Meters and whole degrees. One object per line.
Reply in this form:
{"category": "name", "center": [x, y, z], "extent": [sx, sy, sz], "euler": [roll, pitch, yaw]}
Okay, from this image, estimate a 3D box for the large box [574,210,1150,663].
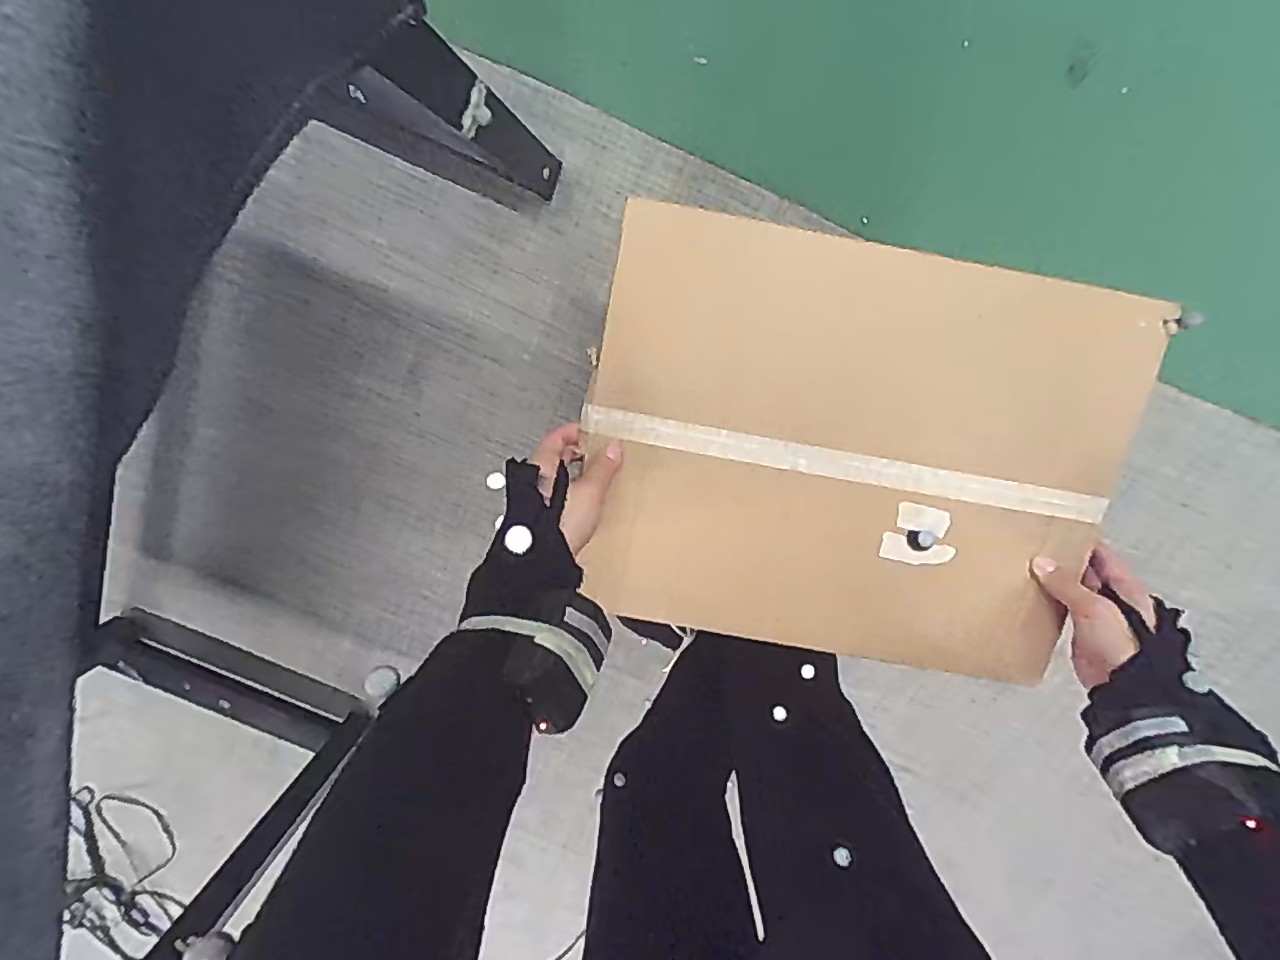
{"category": "large box", "center": [0.160, -0.048, 0.568], "extent": [0.408, 0.320, 0.320], "euler": [9, 102, -2]}
